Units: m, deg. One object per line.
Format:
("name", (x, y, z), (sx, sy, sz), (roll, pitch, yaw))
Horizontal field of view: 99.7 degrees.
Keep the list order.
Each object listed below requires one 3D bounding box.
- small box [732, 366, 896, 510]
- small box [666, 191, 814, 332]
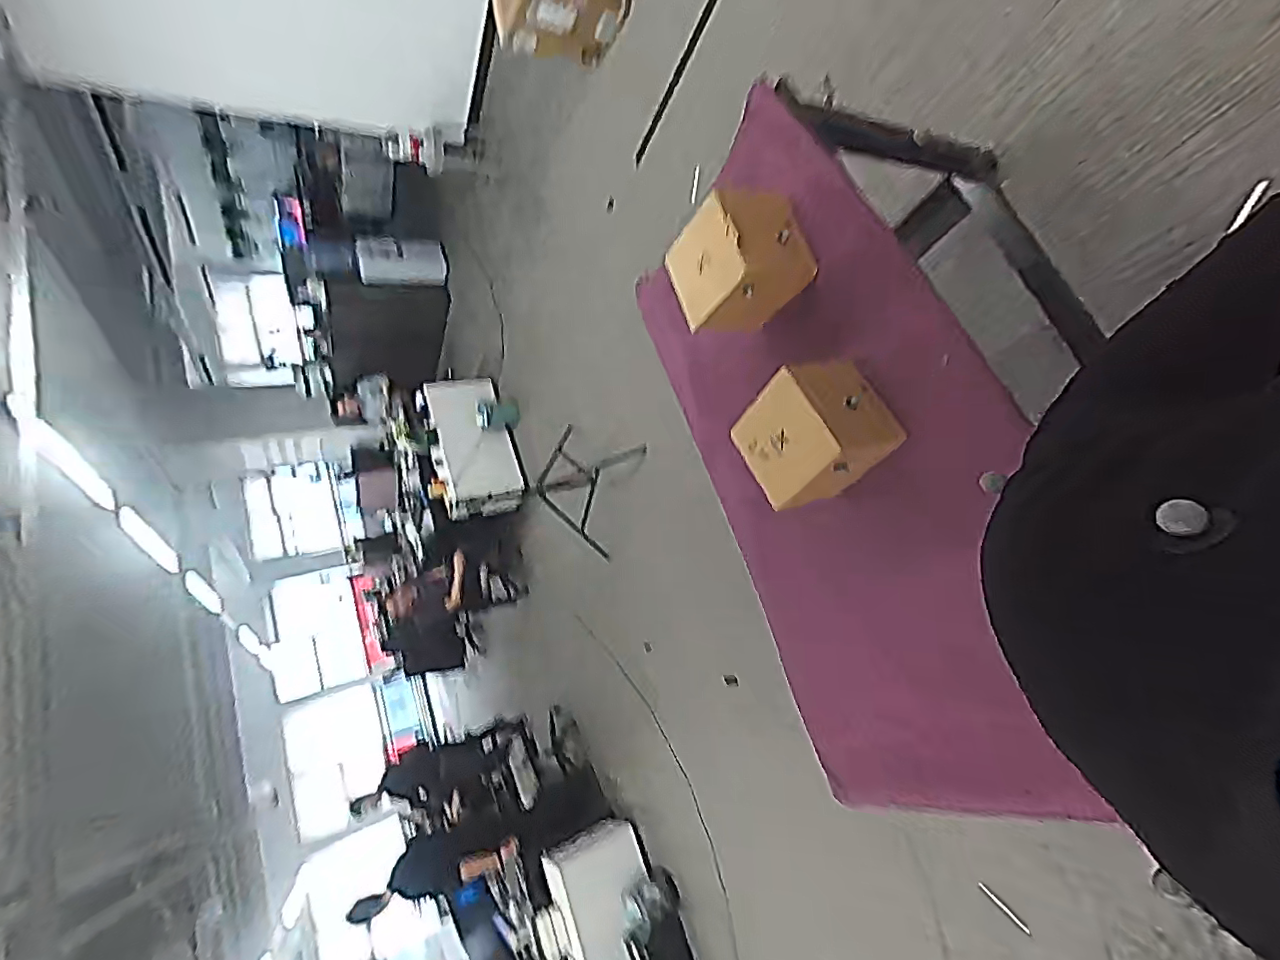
("small box", (0.294, -0.075, 0.904), (0.168, 0.176, 0.179), (64, 147, 24))
("small box", (0.179, -0.390, 0.987), (0.179, 0.176, 0.168), (-39, 67, 57))
